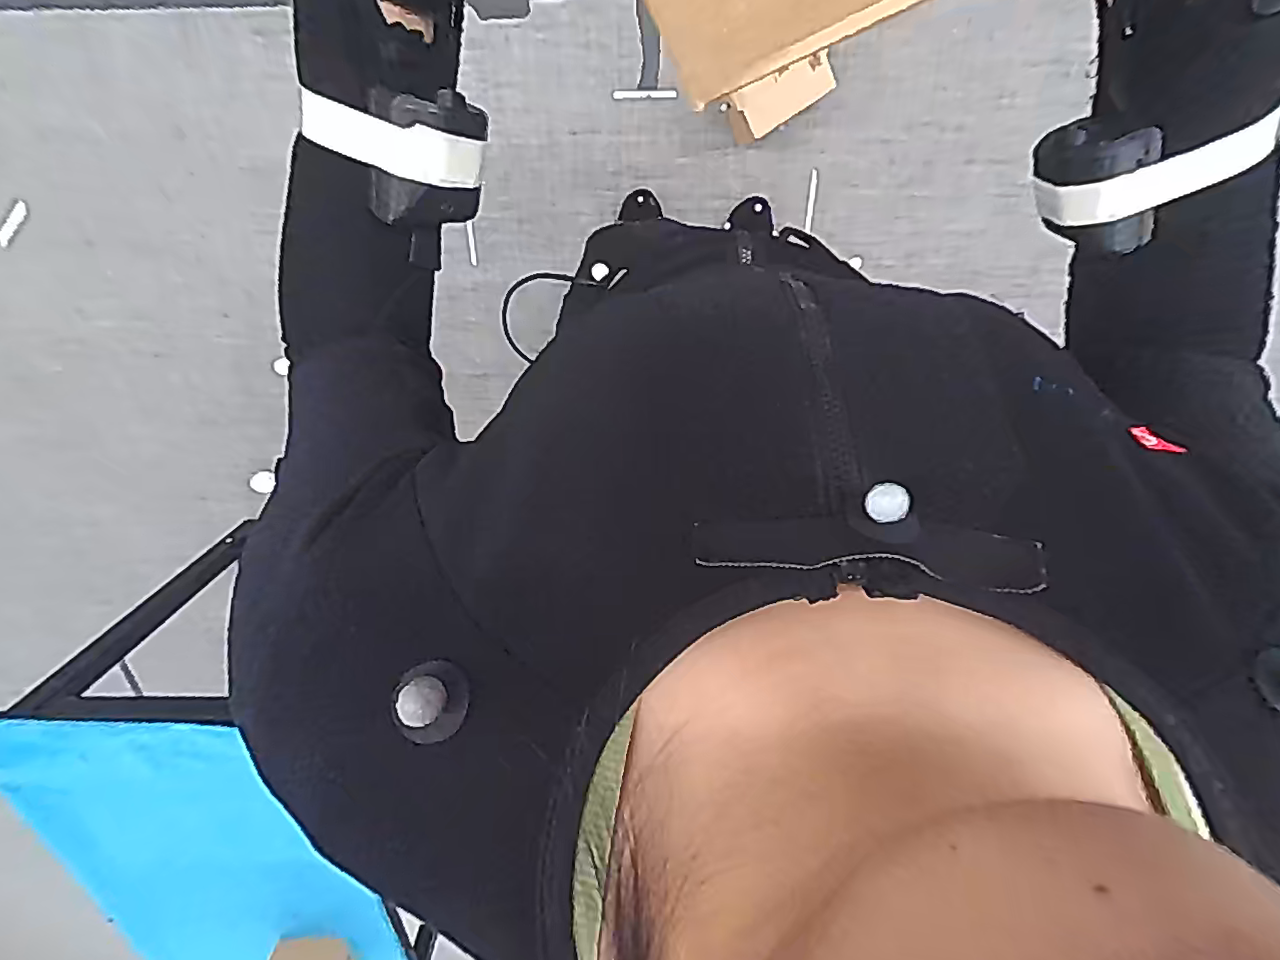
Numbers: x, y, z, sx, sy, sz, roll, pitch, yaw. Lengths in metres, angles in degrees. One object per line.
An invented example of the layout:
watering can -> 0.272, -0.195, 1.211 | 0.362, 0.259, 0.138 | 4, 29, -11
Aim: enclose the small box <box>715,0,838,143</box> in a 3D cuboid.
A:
small box -> 0.261, -0.809, 1.081 | 0.179, 0.176, 0.168 | -30, 113, 15
